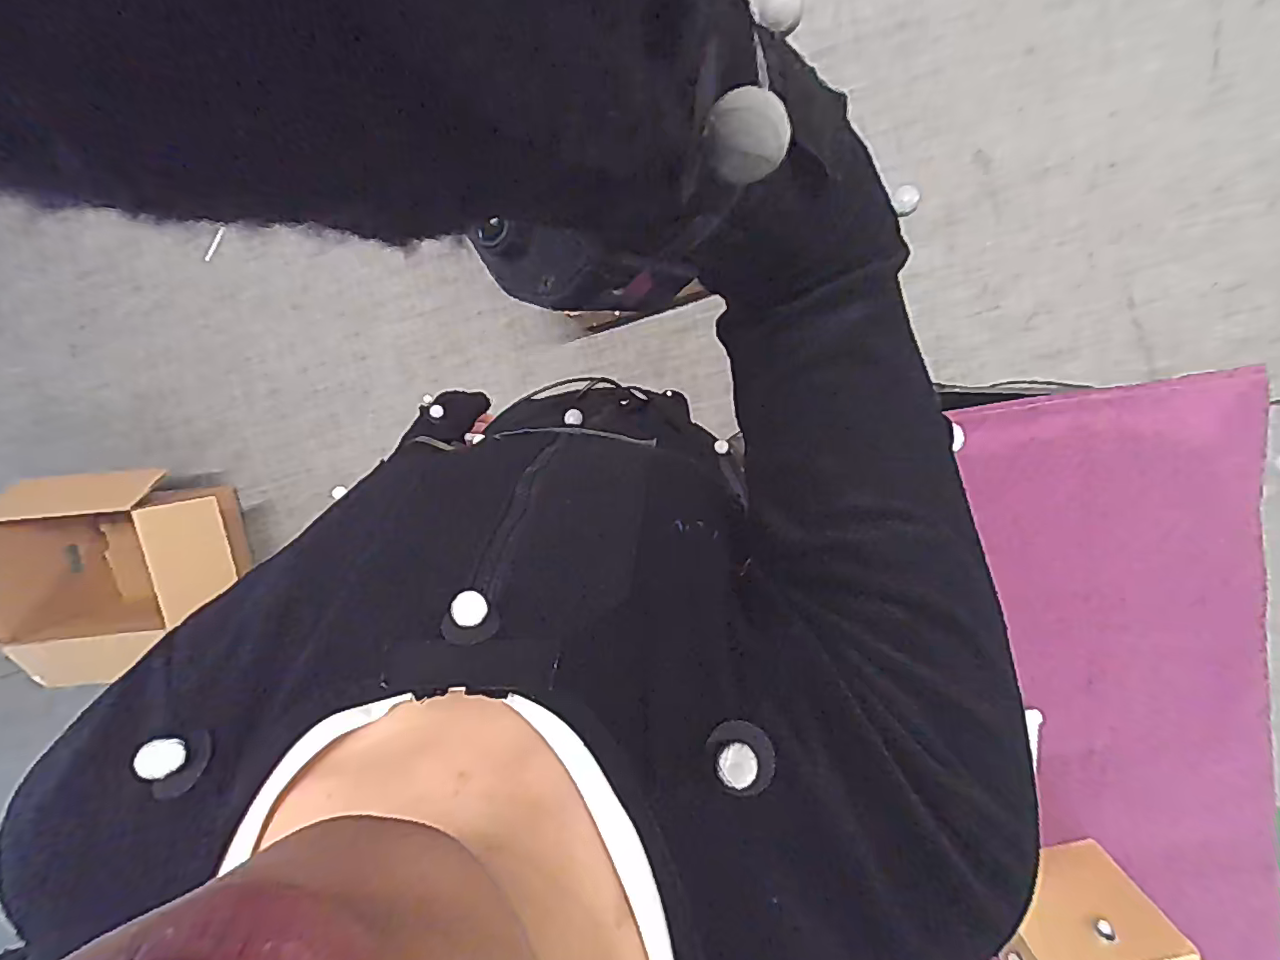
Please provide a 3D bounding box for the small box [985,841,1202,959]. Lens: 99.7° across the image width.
[{"bbox_3d":[0.603,0.638,0.734,0.179,0.176,0.168,-16,98,4],"label":"small box"}]
